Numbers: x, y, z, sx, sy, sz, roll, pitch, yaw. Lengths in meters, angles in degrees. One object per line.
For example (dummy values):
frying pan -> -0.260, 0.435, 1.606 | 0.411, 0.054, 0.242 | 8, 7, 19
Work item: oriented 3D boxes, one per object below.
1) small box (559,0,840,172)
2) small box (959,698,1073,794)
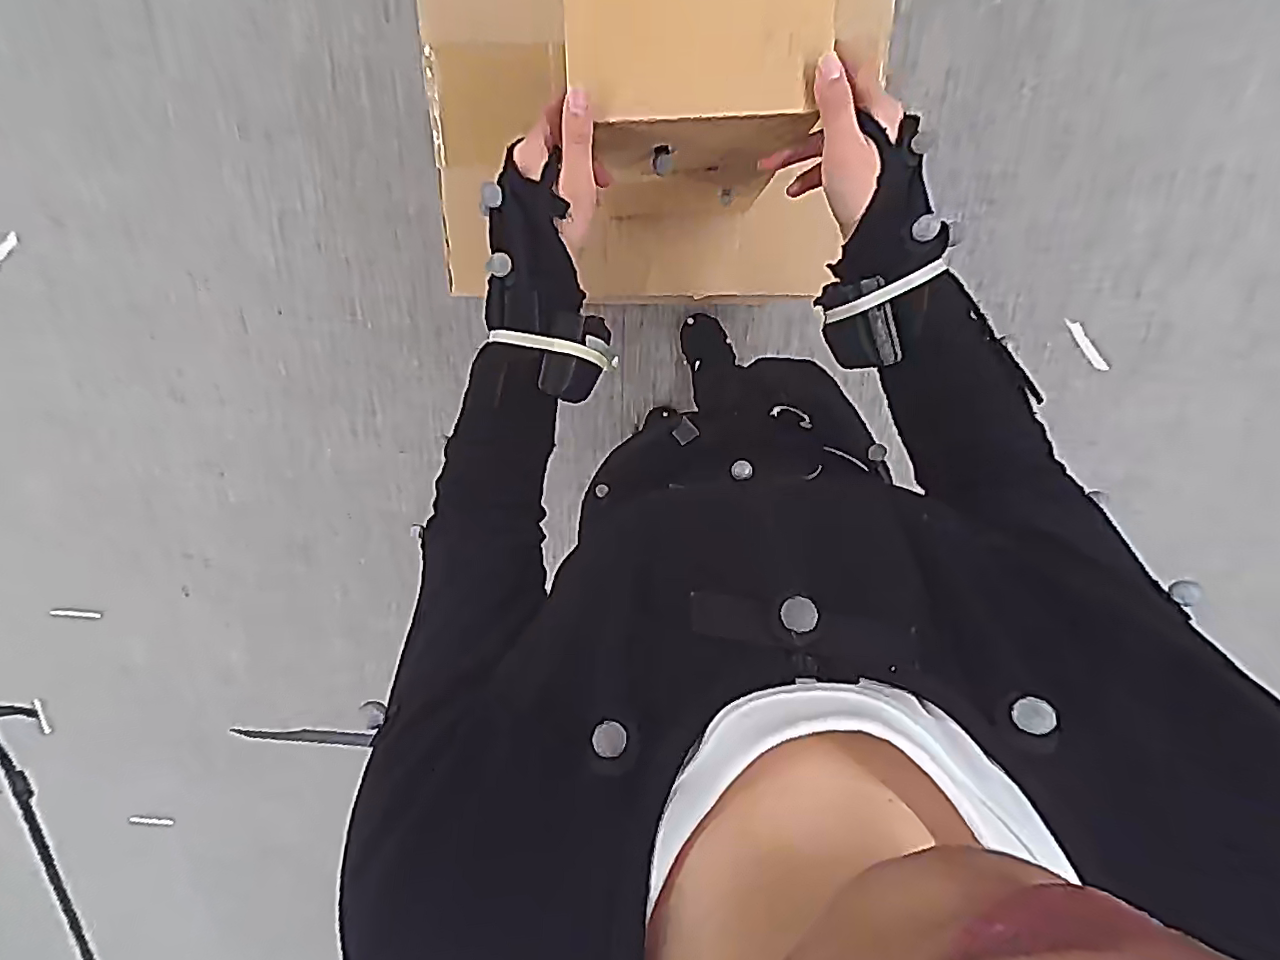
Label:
small box -> 0.037, -0.331, 0.381 | 0.168, 0.176, 0.179 | -1, 106, 3
small box -> 1.015, 0.718, 1.474 | 0.179, 0.176, 0.168 | 4, 105, 2
